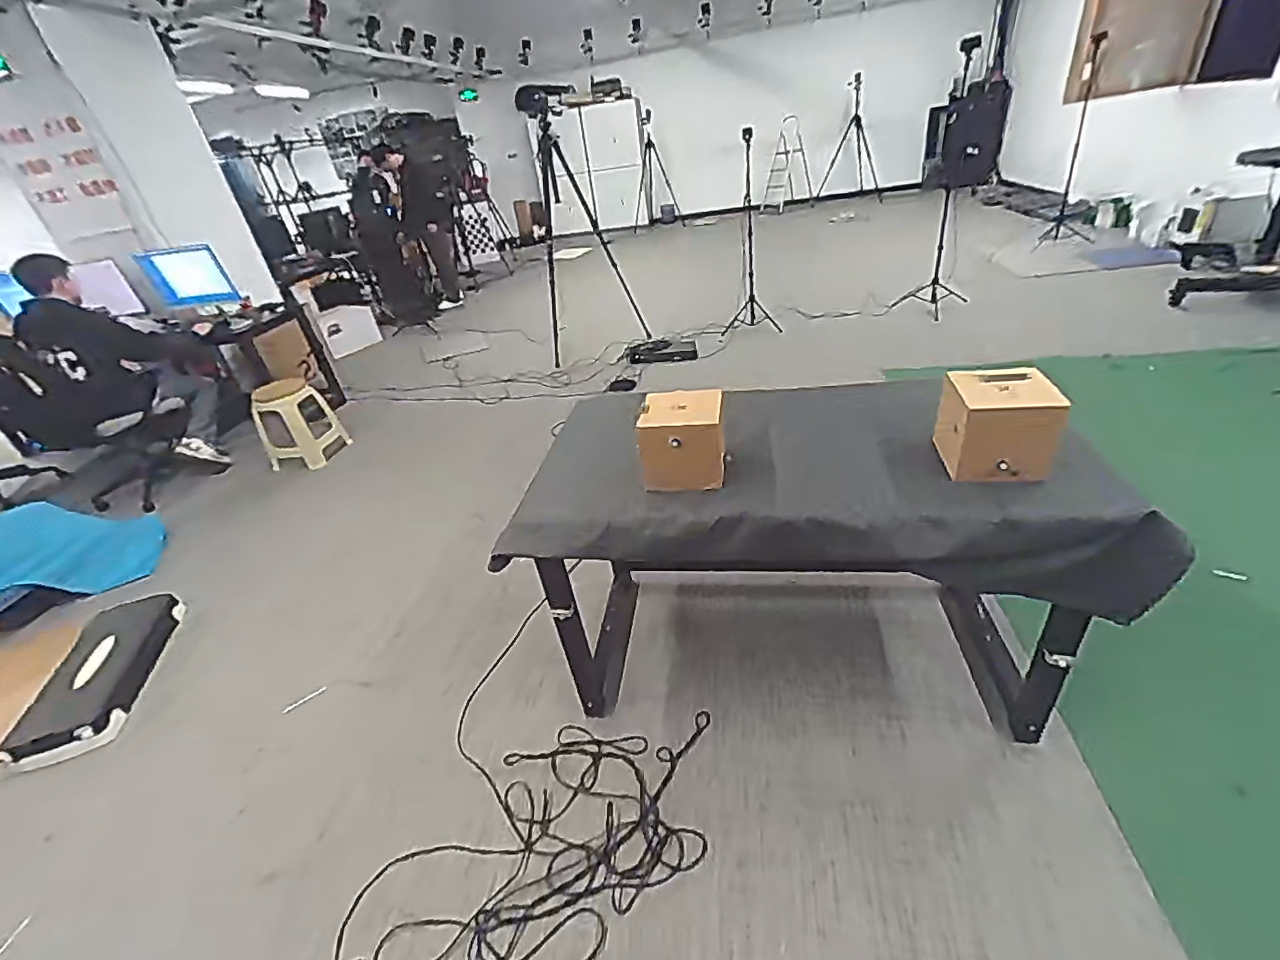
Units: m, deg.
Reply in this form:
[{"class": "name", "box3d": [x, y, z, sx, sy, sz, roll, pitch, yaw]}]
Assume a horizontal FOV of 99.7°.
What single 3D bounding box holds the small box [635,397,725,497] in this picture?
[{"class": "small box", "box3d": [0.096, -0.073, 1.210, 0.179, 0.176, 0.168, 0, 33, 11]}]
